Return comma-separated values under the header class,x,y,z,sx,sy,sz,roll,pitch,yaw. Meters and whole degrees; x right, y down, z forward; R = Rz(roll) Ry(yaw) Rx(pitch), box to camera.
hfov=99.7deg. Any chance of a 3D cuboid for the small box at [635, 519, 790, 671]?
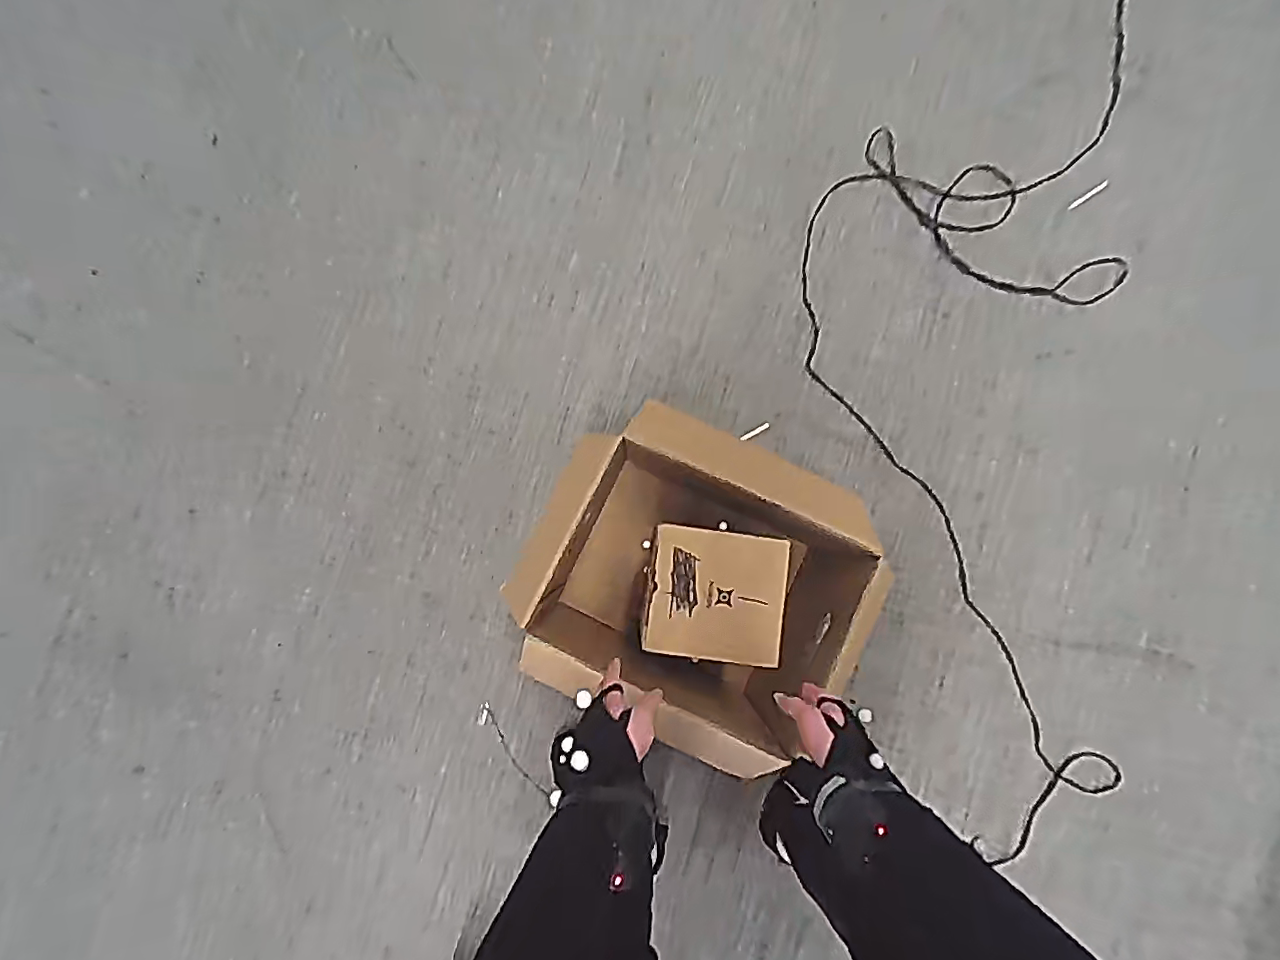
class,x,y,z,sx,sy,sz,roll,pitch,yaw
small box,0.094,0.153,0.773,0.179,0.176,0.168,11,87,1
